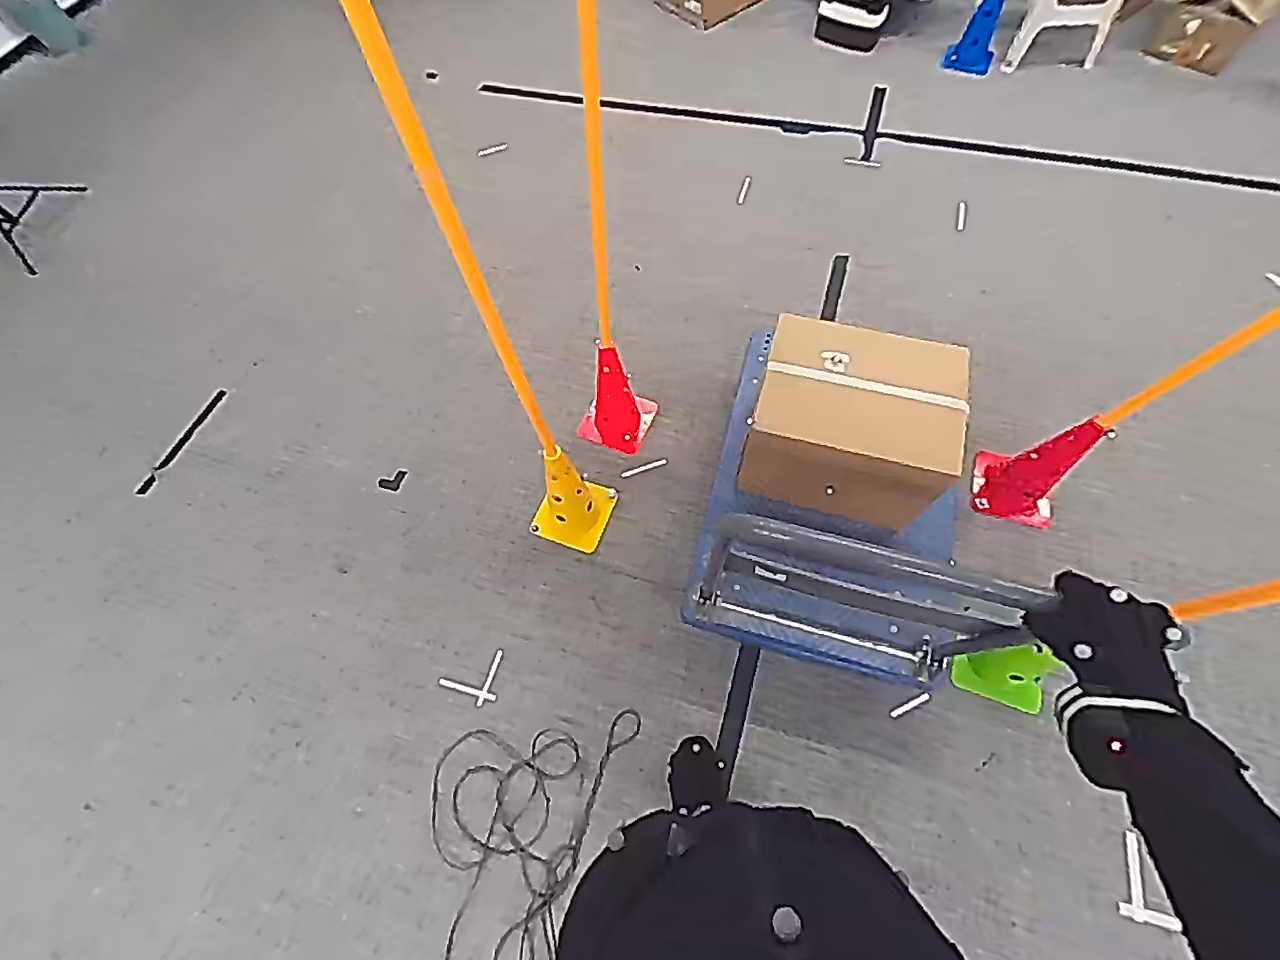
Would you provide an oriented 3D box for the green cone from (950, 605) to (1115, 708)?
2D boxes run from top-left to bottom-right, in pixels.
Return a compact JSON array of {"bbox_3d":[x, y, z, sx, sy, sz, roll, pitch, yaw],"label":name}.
[{"bbox_3d":[0.860,0.351,1.162,0.202,0.368,0.200,19,66,10],"label":"green cone"}]

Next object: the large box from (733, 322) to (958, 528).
[{"bbox_3d":[0.457,-0.117,1.256,0.408,0.320,0.320,14,66,10],"label":"large box"}]

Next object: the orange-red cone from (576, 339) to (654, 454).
[{"bbox_3d":[-0.080,-0.264,1.519,0.198,0.360,0.199,22,66,12],"label":"orange-red cone"}]

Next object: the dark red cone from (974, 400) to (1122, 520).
[{"bbox_3d":[1.023,-0.070,1.341,0.201,0.394,0.202,15,66,8],"label":"dark red cone"}]
